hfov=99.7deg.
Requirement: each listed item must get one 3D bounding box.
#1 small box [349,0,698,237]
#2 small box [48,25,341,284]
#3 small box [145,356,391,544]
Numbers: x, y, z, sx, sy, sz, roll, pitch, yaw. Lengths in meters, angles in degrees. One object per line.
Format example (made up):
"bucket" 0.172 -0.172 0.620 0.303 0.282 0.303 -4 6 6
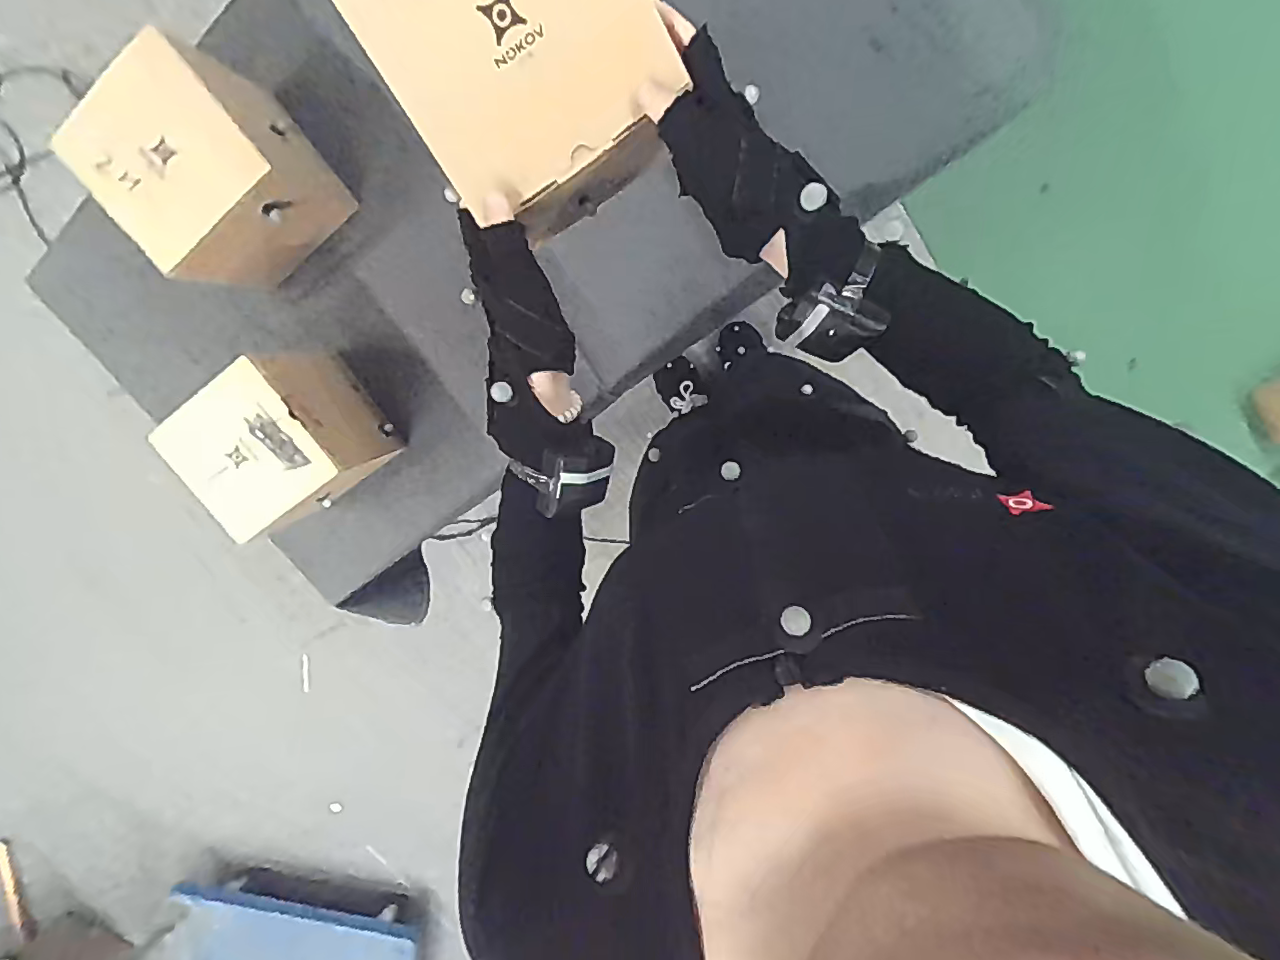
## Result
"small box" -0.077 -0.306 0.403 0.168 0.176 0.179 -30 109 9
"small box" -0.490 -0.353 0.631 0.179 0.176 0.168 -36 100 11
"small box" -0.461 -0.050 0.709 0.179 0.176 0.168 -33 100 11
